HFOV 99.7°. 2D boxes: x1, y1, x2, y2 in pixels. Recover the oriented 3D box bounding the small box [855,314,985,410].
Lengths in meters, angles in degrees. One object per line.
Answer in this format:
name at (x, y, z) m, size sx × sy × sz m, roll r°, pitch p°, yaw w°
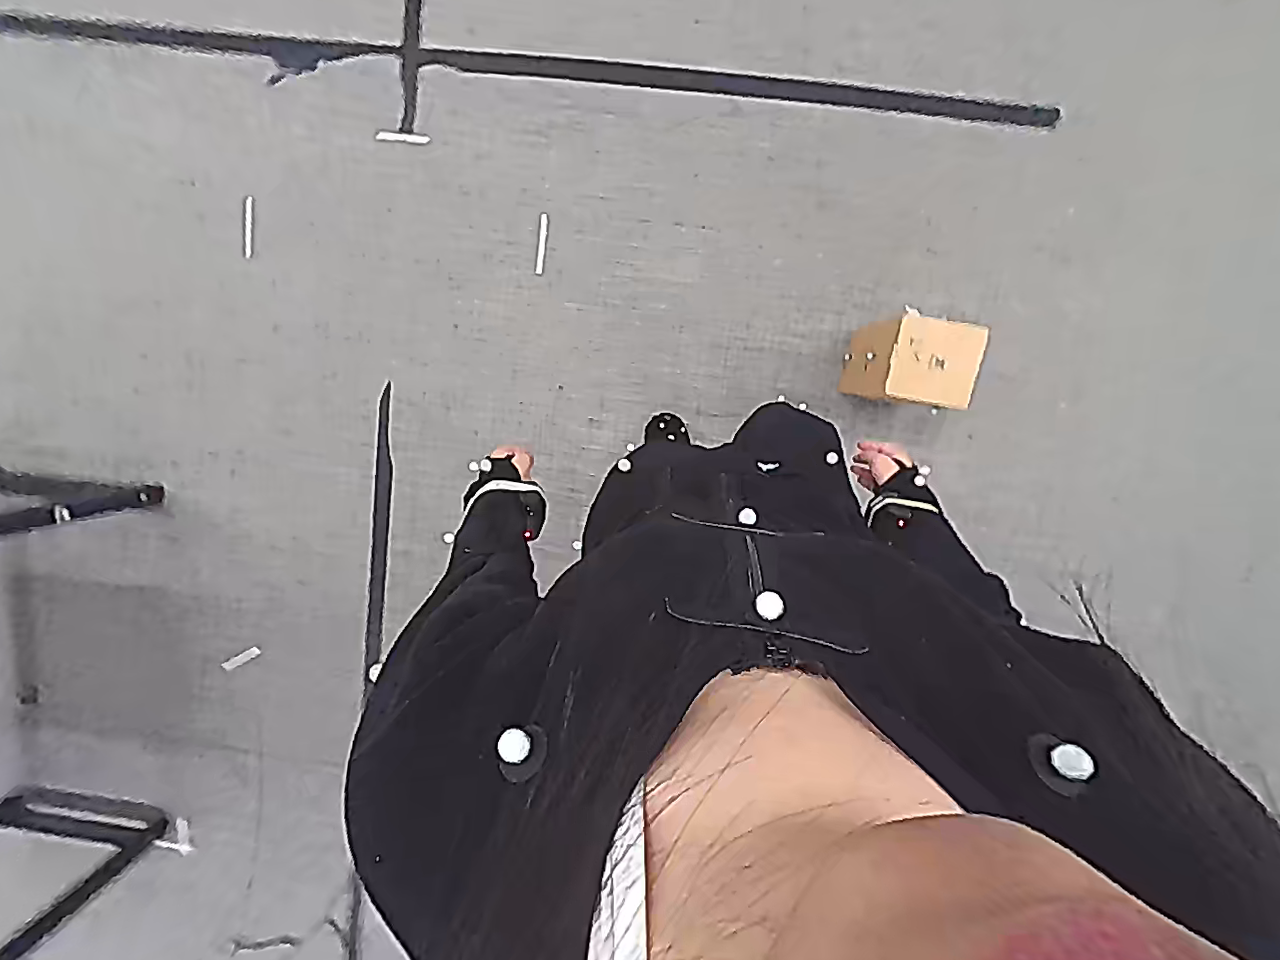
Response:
small box at (0.600, -0.253, 1.180) m, size 0.179 × 0.176 × 0.168 m, roll 12°, pitch 99°, yaw 2°
